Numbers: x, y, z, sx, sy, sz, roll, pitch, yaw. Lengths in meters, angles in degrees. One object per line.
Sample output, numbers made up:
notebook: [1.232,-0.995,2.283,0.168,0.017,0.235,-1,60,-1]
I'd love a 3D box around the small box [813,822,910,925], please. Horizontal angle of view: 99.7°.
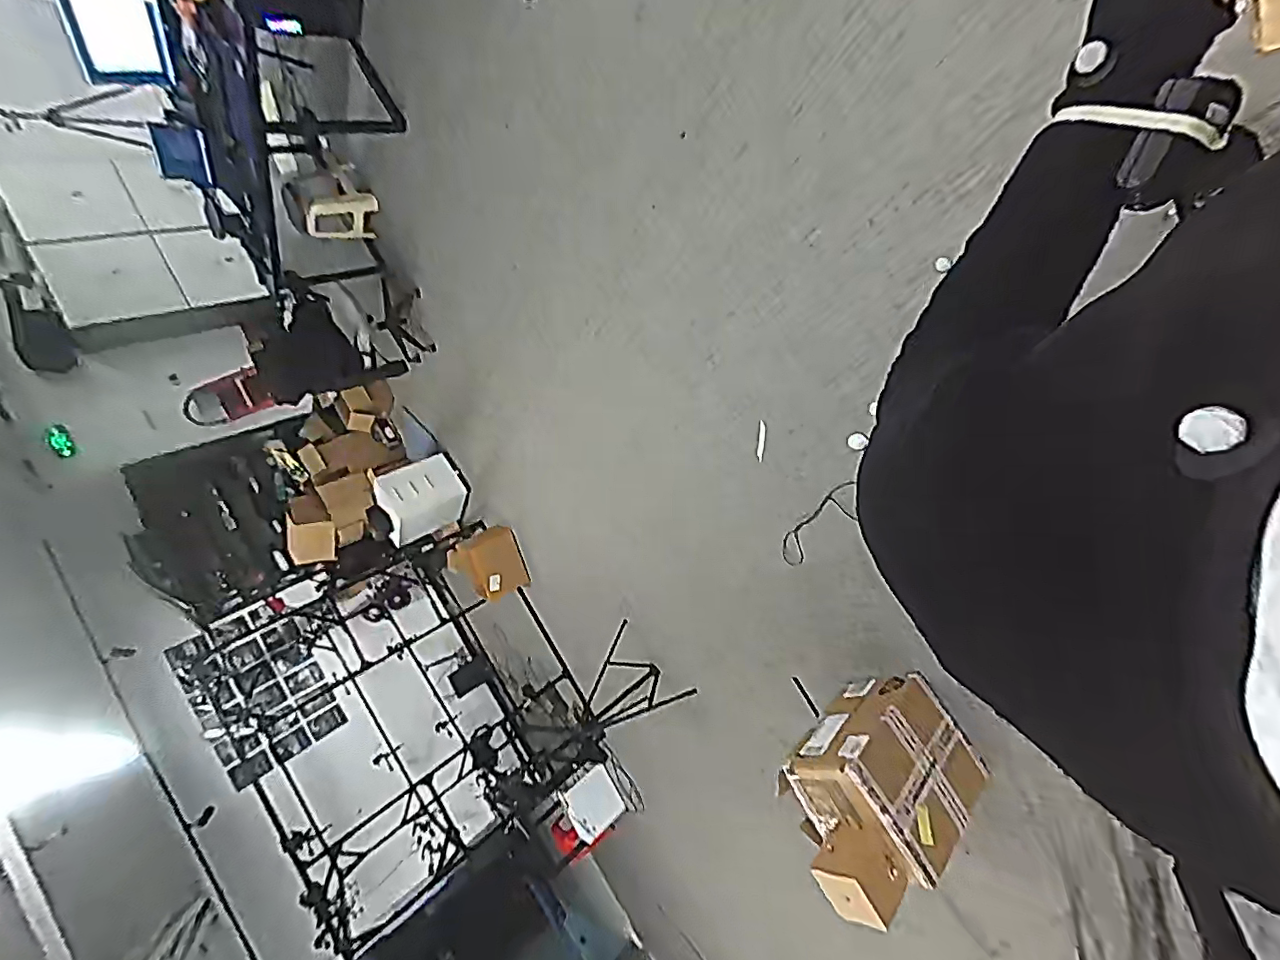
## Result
small box: [0.657,1.154,1.603,0.168,0.176,0.179,57,140,3]
